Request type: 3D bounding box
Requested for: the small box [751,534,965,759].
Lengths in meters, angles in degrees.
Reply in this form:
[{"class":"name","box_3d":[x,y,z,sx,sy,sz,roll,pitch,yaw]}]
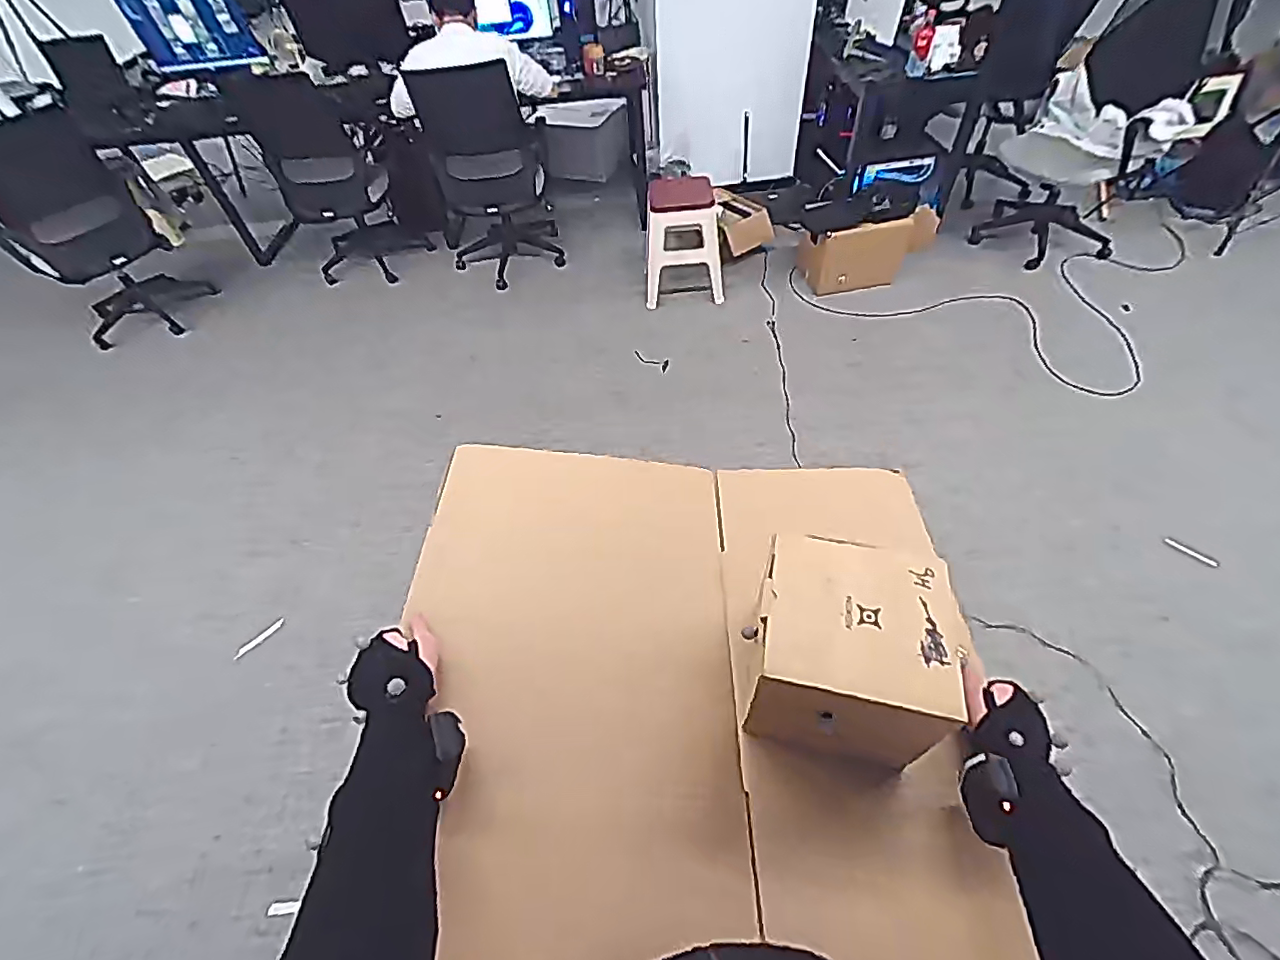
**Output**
[{"class":"small box","box_3d":[0.222,0.184,0.591,0.179,0.176,0.168,9,51,12]}]
